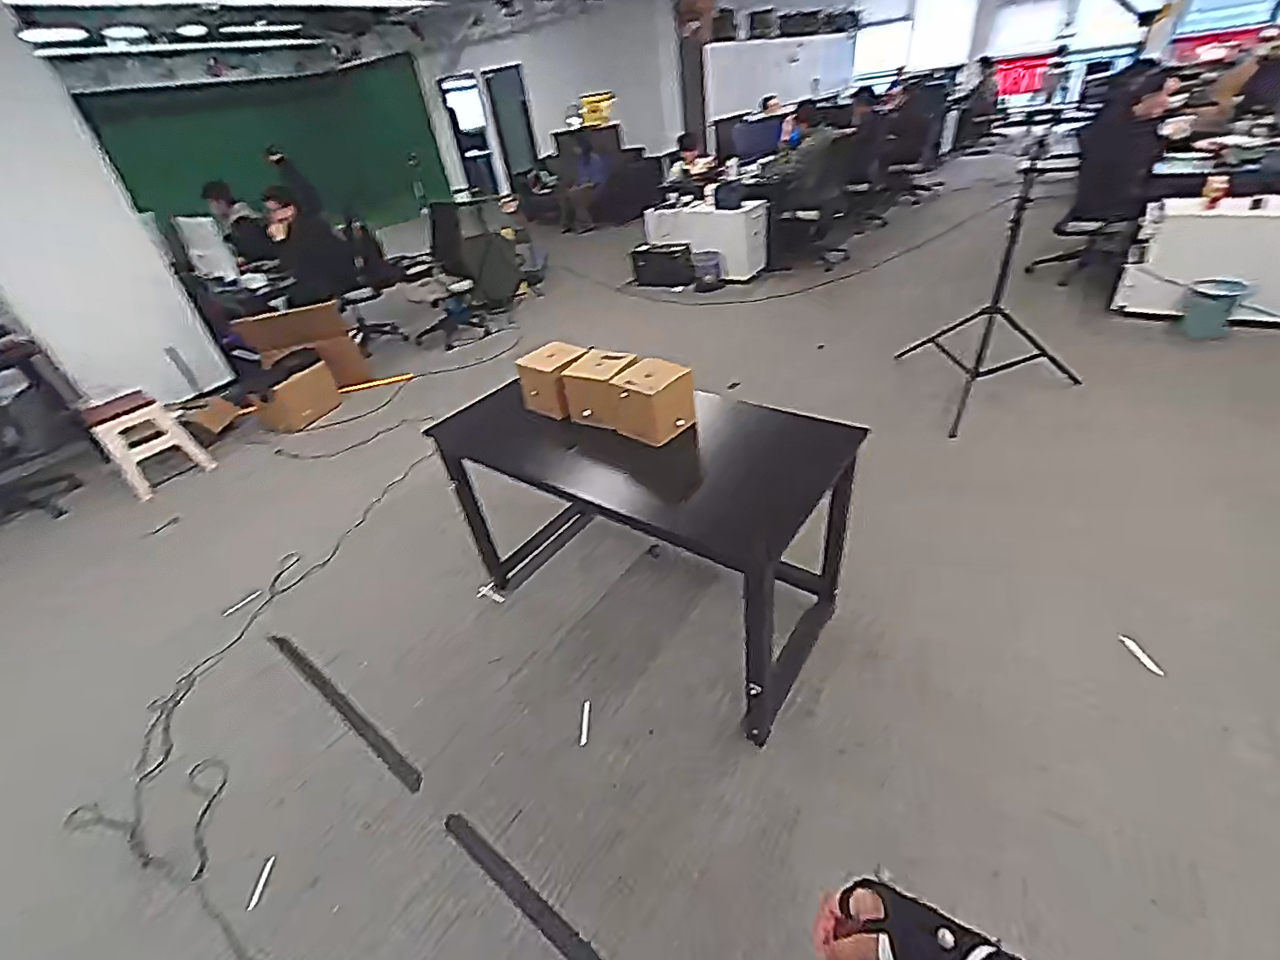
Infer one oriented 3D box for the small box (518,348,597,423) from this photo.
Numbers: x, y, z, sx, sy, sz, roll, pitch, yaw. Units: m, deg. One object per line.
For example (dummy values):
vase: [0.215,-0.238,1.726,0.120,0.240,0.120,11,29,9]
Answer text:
small box: [-0.259,-0.304,1.746,0.168,0.176,0.179,22,45,35]
